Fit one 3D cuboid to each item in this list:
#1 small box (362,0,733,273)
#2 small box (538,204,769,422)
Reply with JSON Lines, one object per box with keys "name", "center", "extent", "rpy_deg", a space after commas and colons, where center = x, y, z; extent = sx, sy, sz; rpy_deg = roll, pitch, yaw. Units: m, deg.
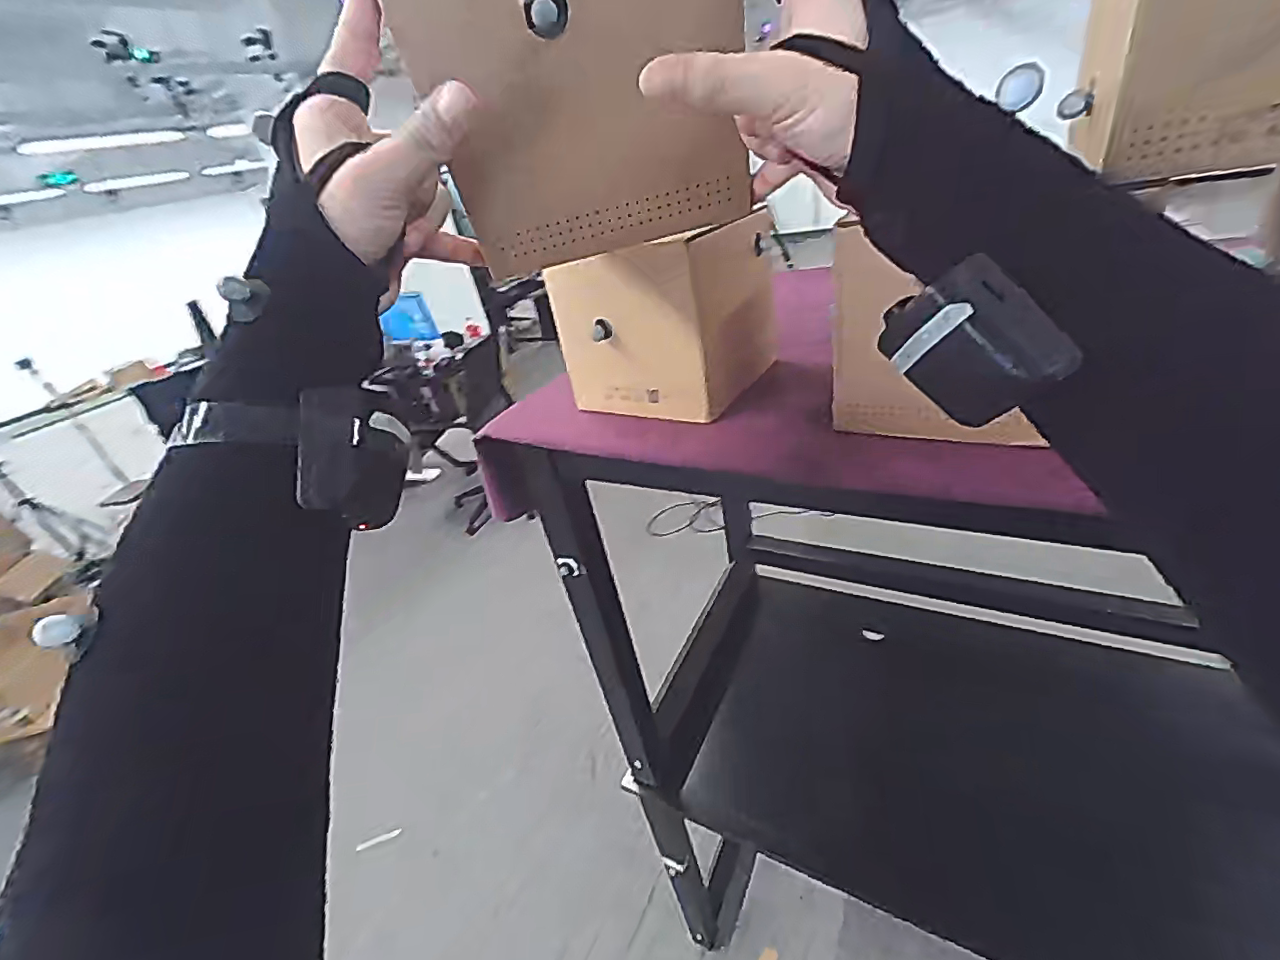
{"name": "small box", "center": [-0.048, -0.257, 0.347], "extent": [0.179, 0.176, 0.168], "rpy_deg": [-14, 47, 1]}
{"name": "small box", "center": [0.028, -0.172, 0.568], "extent": [0.168, 0.176, 0.179], "rpy_deg": [9, 36, 34]}
